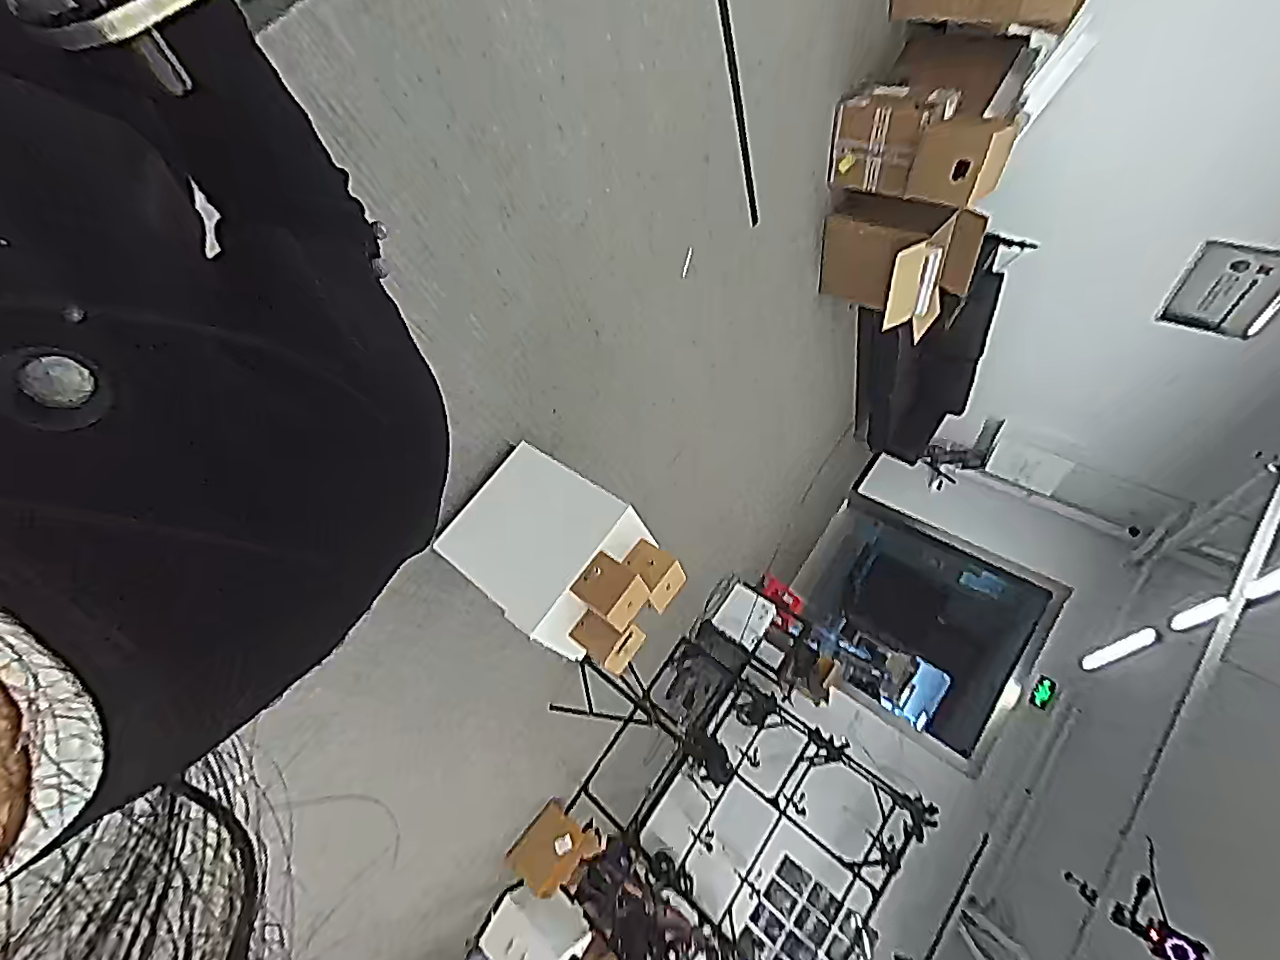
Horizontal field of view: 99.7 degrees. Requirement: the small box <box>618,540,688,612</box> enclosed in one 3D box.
[{"bbox_3d":[0.044,0.338,1.930,0.168,0.176,0.179,-51,148,-16],"label":"small box"}]
